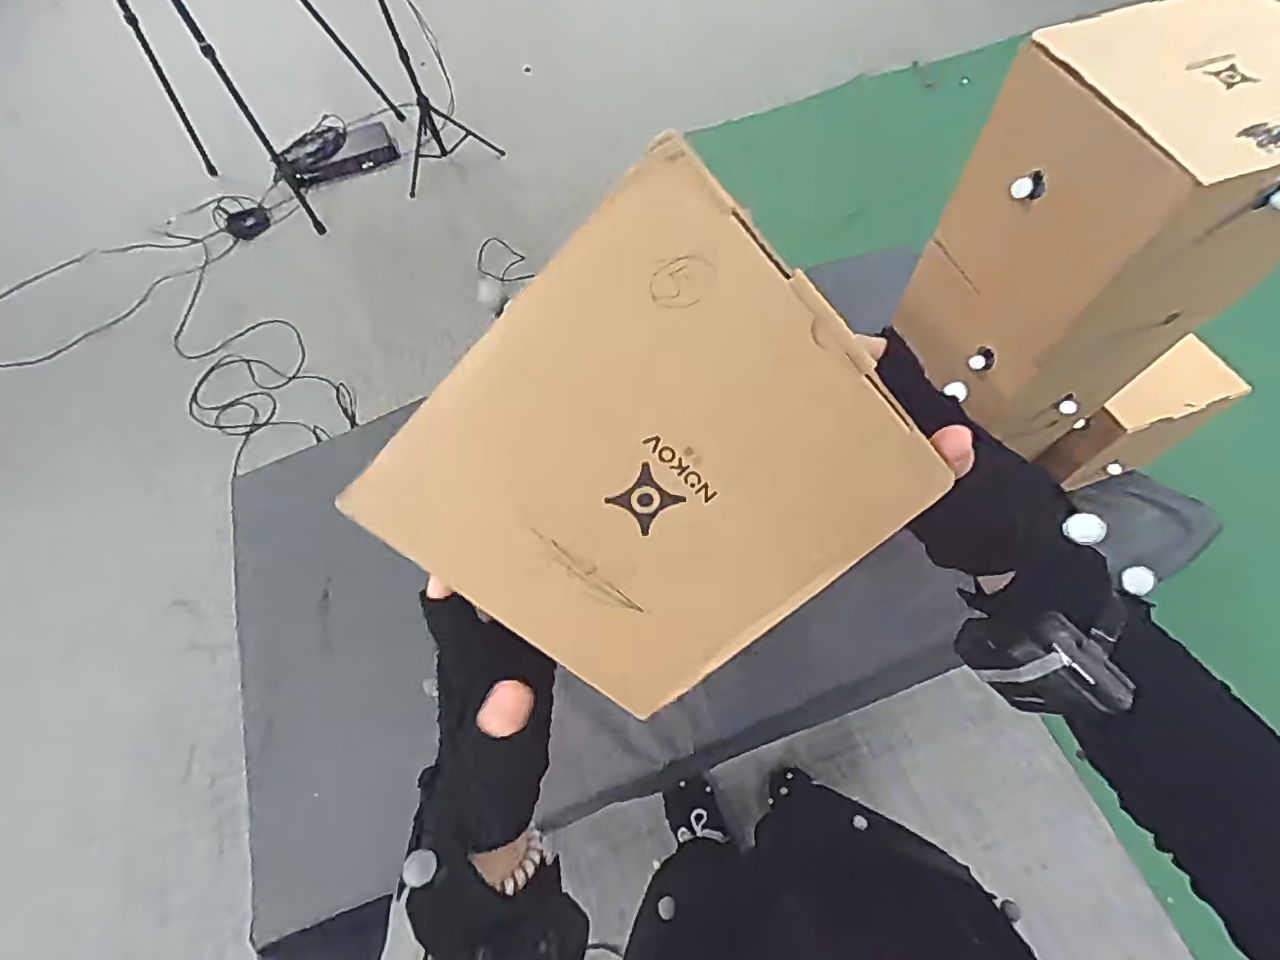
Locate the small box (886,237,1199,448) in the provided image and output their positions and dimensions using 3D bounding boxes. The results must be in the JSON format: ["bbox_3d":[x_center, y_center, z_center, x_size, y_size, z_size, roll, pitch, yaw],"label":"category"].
[{"bbox_3d":[0.396,-0.153,0.572,0.168,0.176,0.179,-18,63,-4],"label":"small box"}]

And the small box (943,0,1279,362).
[{"bbox_3d":[0.380,-0.225,0.425,0.168,0.176,0.179,-16,62,-2],"label":"small box"}]

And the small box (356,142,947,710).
[{"bbox_3d":[0.002,-0.030,0.282,0.168,0.176,0.179,41,107,-17],"label":"small box"}]
